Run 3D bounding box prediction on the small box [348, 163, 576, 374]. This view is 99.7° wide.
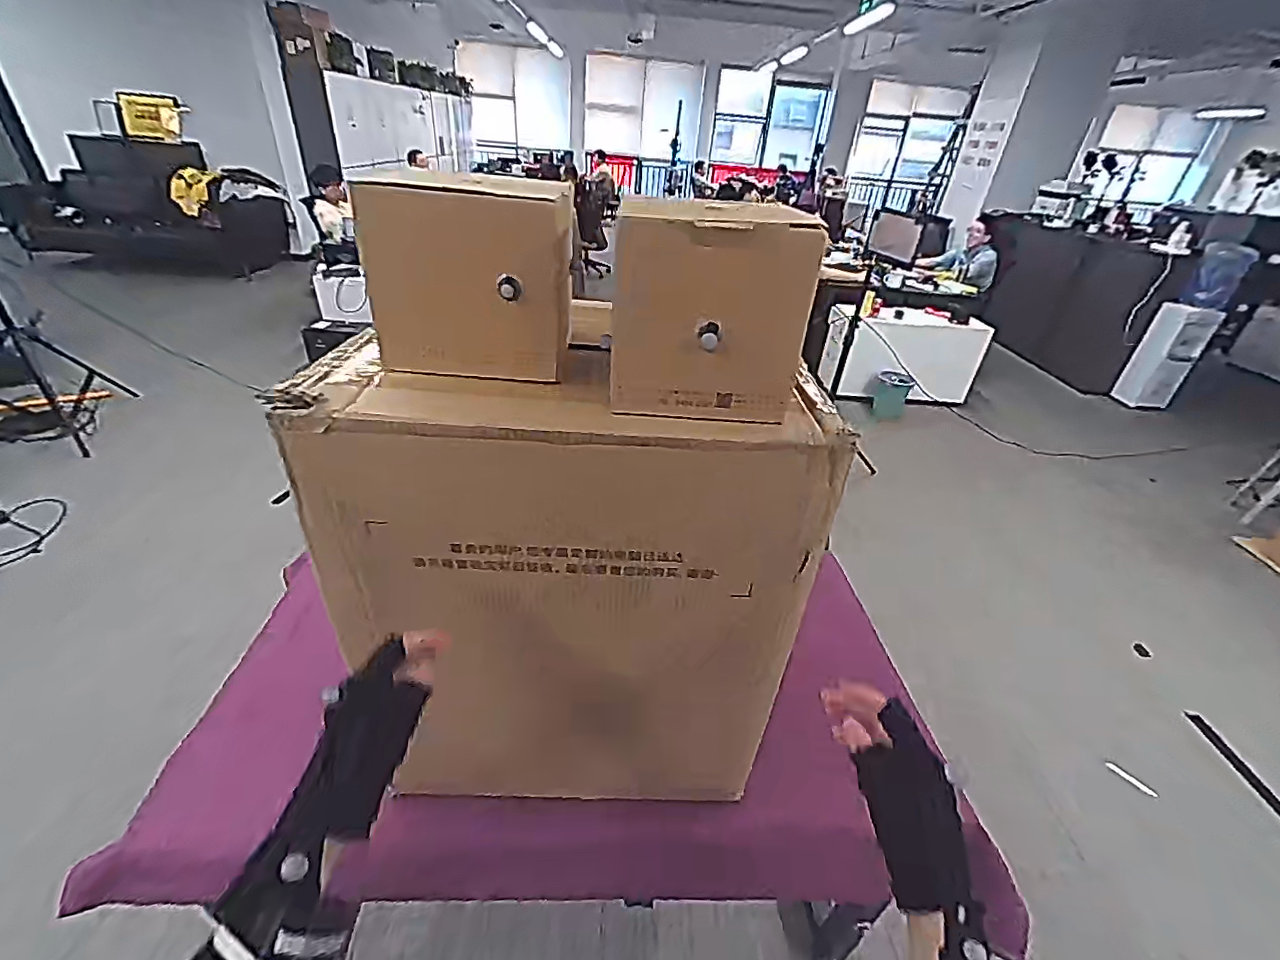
[{"bbox_3d":[-0.161,-0.216,0.555,0.179,0.176,0.168,2,32,-3],"label":"small box"}]

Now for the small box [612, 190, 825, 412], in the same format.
[{"bbox_3d":[0.060,-0.176,0.524,0.168,0.176,0.179,3,33,-1],"label":"small box"}]
